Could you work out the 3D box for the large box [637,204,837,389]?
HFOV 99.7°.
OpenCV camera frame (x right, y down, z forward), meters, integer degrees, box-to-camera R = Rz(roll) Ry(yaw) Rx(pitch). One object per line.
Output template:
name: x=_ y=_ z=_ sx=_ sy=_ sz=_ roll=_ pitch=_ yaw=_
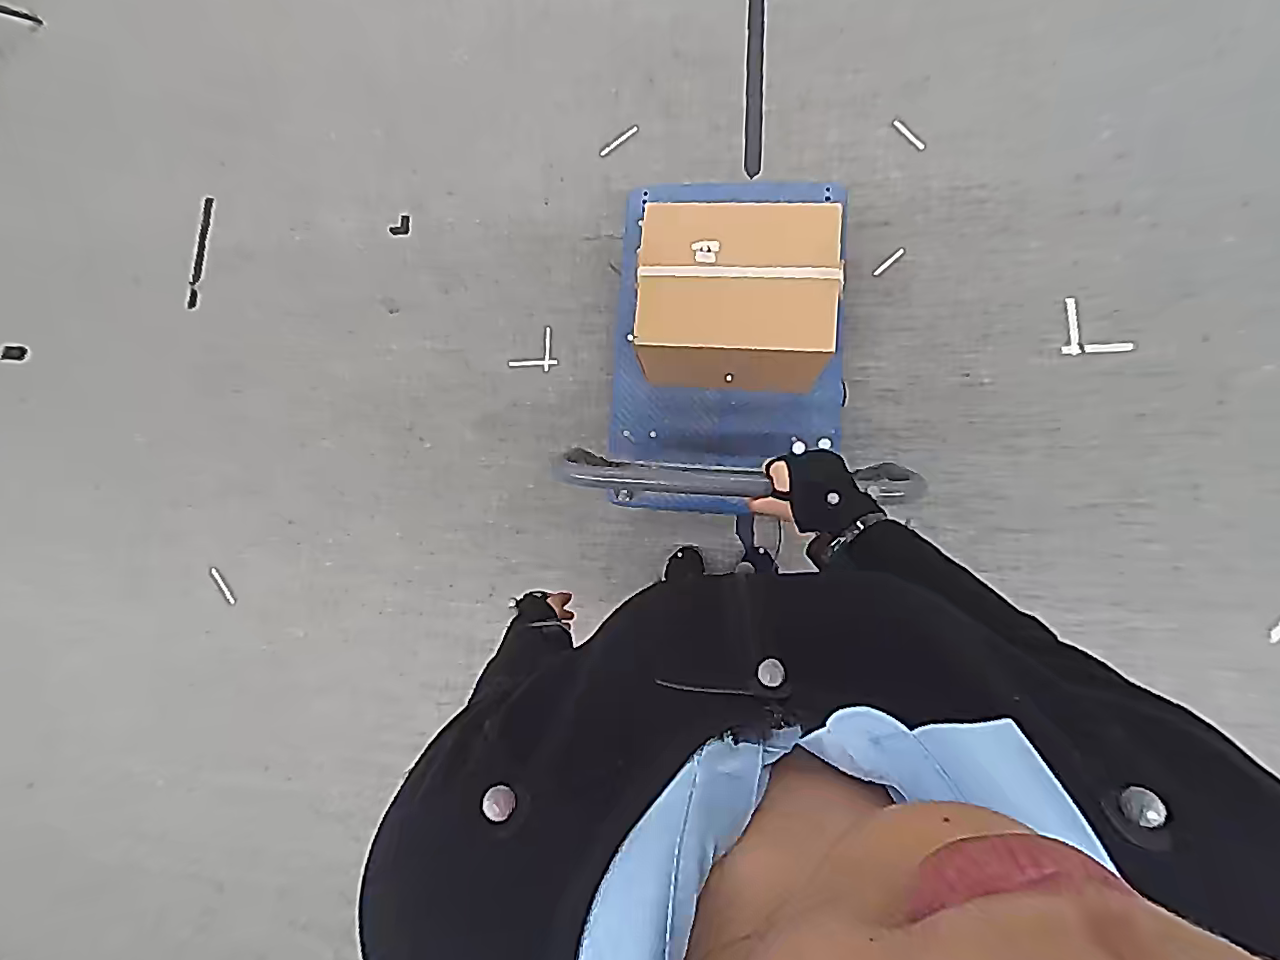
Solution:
large box: x=0.222 y=-0.403 z=1.262 sx=0.408 sy=0.320 sz=0.320 roll=3 pitch=83 yaw=9
